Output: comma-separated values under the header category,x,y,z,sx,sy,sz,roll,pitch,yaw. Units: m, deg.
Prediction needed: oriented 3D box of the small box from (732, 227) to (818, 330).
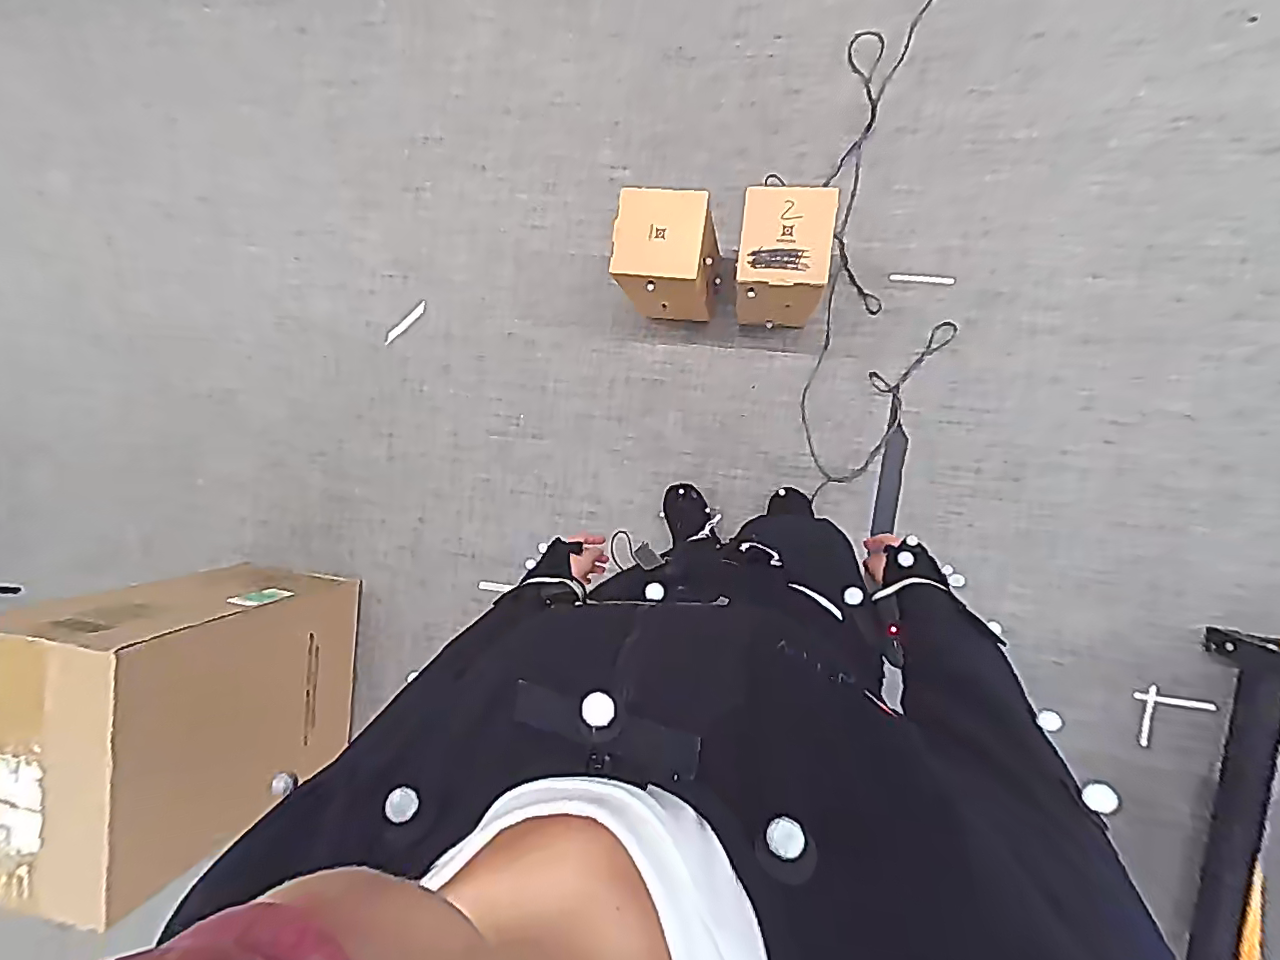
category,x,y,z,sx,sy,sz,roll,pitch,yaw
small box,0.300,-0.452,1.230,0.168,0.176,0.179,6,94,10

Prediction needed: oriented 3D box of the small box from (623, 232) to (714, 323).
category,x,y,z,sx,sy,sz,roll,pitch,yaw
small box,0.073,-0.475,1.272,0.179,0.176,0.168,8,94,11

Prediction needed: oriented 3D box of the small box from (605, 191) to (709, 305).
category,x,y,z,sx,sy,sz,roll,pitch,yaw
small box,0.043,-0.469,1.113,0.179,0.176,0.168,9,94,12
